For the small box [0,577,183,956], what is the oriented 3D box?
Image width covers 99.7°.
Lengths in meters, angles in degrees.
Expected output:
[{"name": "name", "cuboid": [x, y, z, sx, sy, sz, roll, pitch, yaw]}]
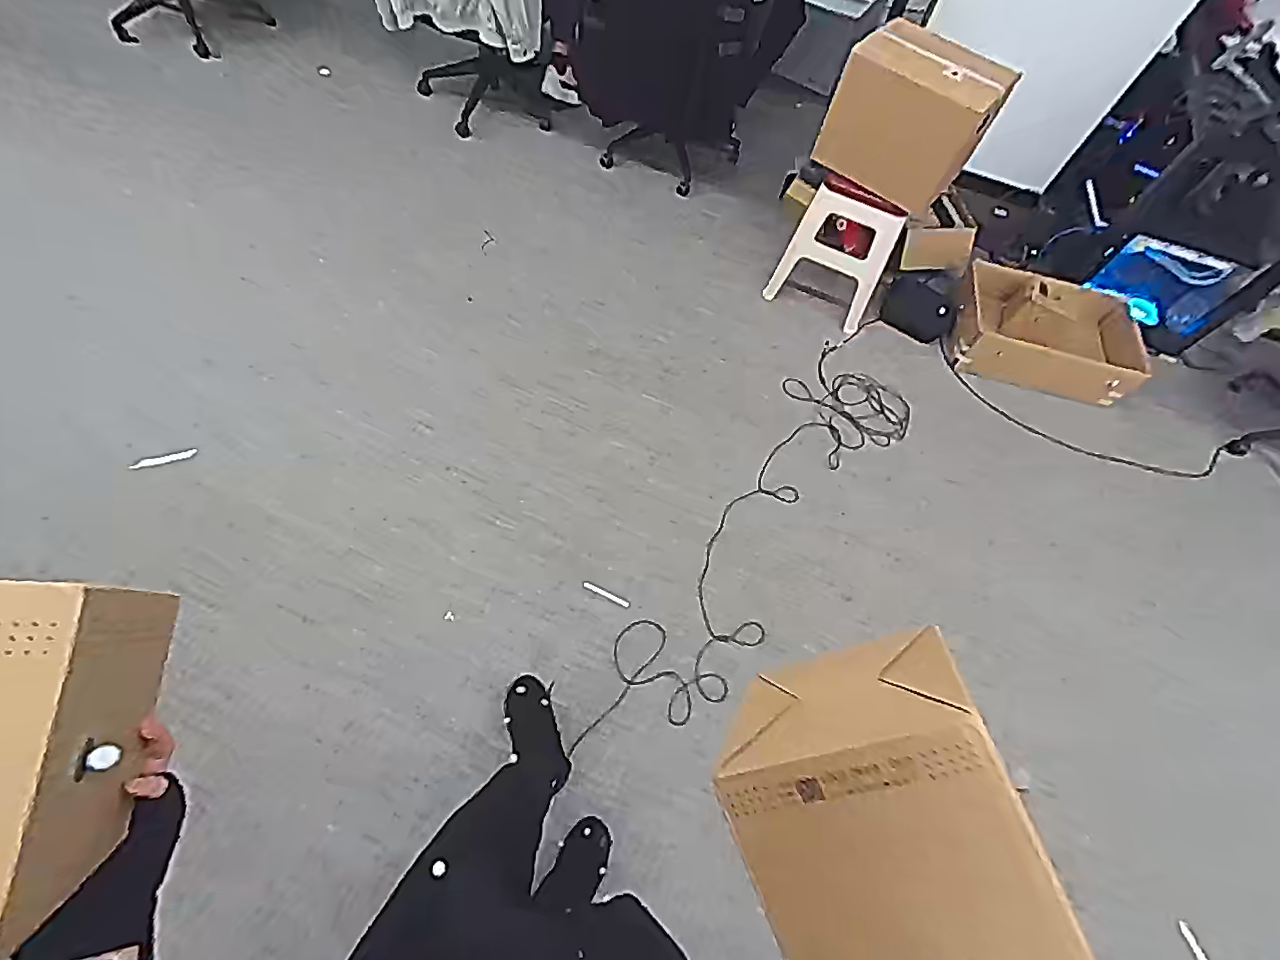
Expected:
[{"name": "small box", "cuboid": [-0.385, 0.137, 0.291, 0.168, 0.179, 0.176, 8, 74, -25]}]

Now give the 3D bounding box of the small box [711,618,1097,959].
[{"name": "small box", "cuboid": [0.173, 0.218, 0.393, 0.168, 0.179, 0.176, -27, 83, 22]}]
